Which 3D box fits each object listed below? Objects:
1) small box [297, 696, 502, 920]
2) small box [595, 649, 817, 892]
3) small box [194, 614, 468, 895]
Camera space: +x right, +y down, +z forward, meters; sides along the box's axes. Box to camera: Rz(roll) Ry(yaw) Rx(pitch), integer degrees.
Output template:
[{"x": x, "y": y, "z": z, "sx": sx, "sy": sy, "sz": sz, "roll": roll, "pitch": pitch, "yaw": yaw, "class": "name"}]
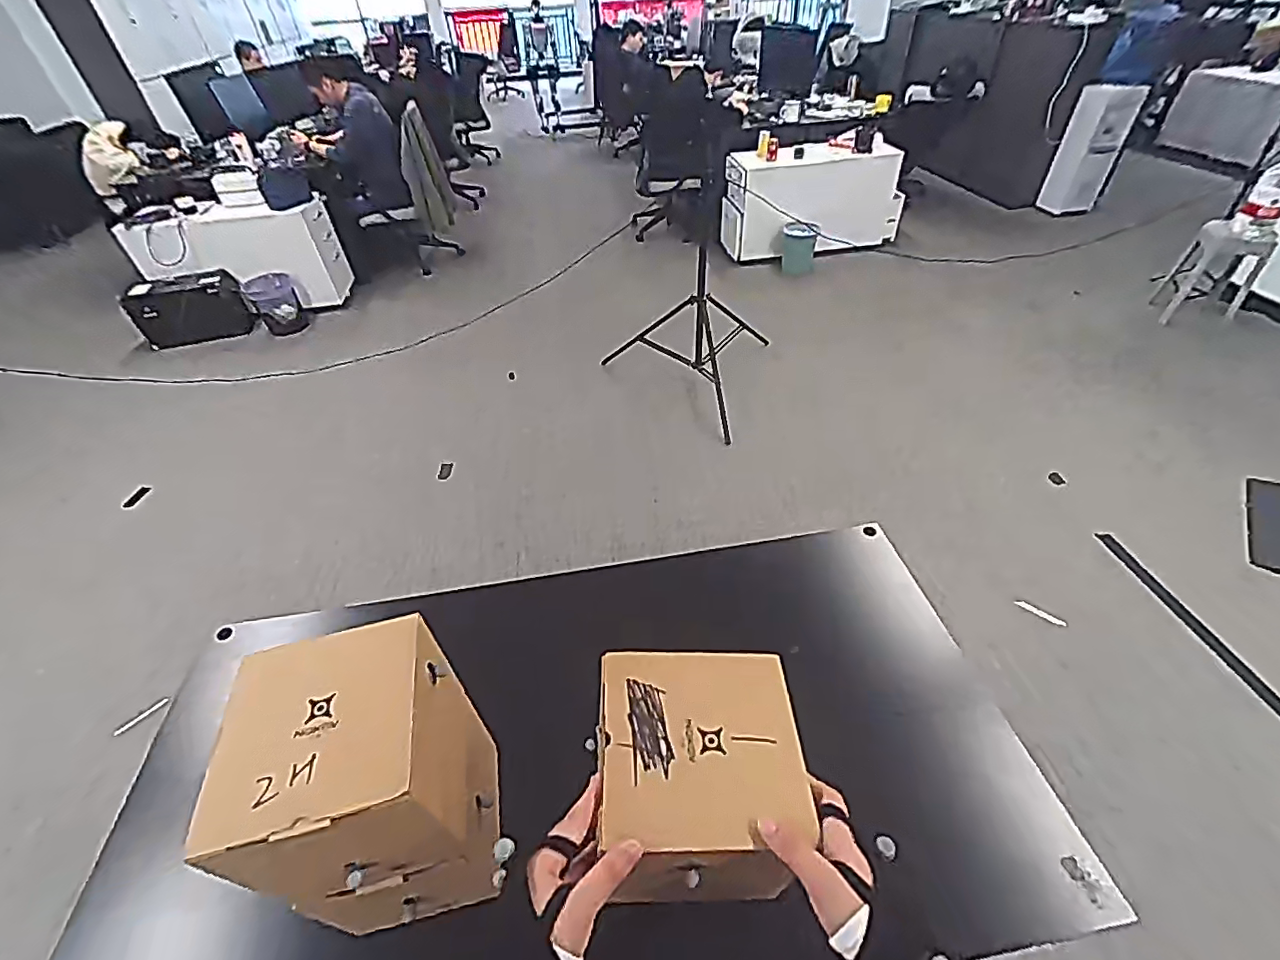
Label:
[{"x": -0.265, "y": 0.391, "z": 0.642, "sx": 0.168, "sy": 0.176, "sz": 0.179, "roll": -11, "pitch": 44, "yaw": -8, "class": "small box"}, {"x": 0.046, "y": 0.283, "z": 0.527, "sx": 0.179, "sy": 0.176, "sz": 0.168, "roll": 2, "pitch": 42, "yaw": -4, "class": "small box"}, {"x": -0.274, "y": 0.267, "z": 0.532, "sx": 0.168, "sy": 0.176, "sz": 0.179, "roll": -13, "pitch": 44, "yaw": -8, "class": "small box"}]
